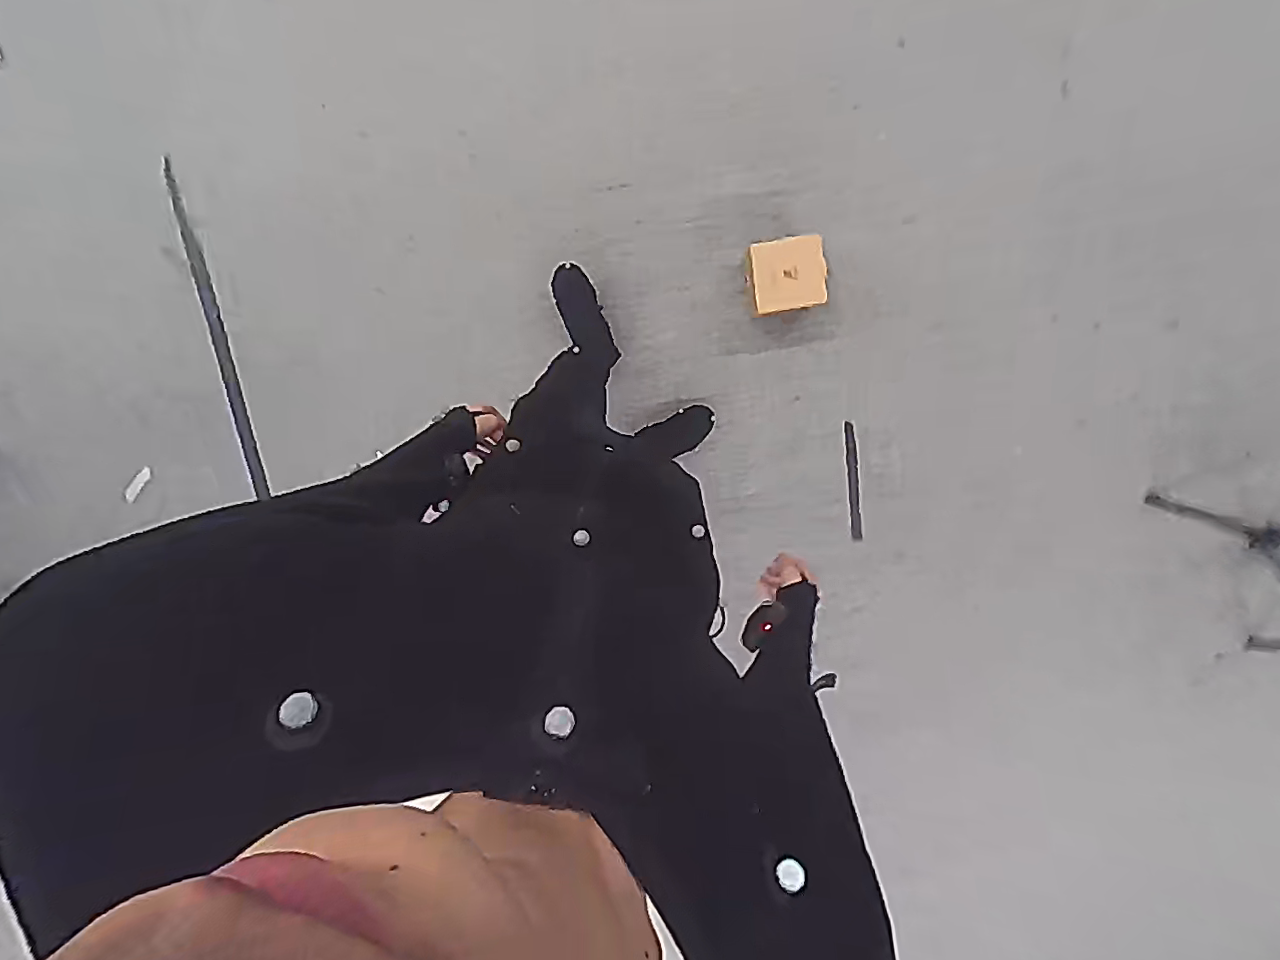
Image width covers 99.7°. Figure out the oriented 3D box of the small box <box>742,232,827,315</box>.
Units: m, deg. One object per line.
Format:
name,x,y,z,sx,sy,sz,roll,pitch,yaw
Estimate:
small box,0.370,-0.529,1.404,0.179,0.176,0.168,-7,101,5
